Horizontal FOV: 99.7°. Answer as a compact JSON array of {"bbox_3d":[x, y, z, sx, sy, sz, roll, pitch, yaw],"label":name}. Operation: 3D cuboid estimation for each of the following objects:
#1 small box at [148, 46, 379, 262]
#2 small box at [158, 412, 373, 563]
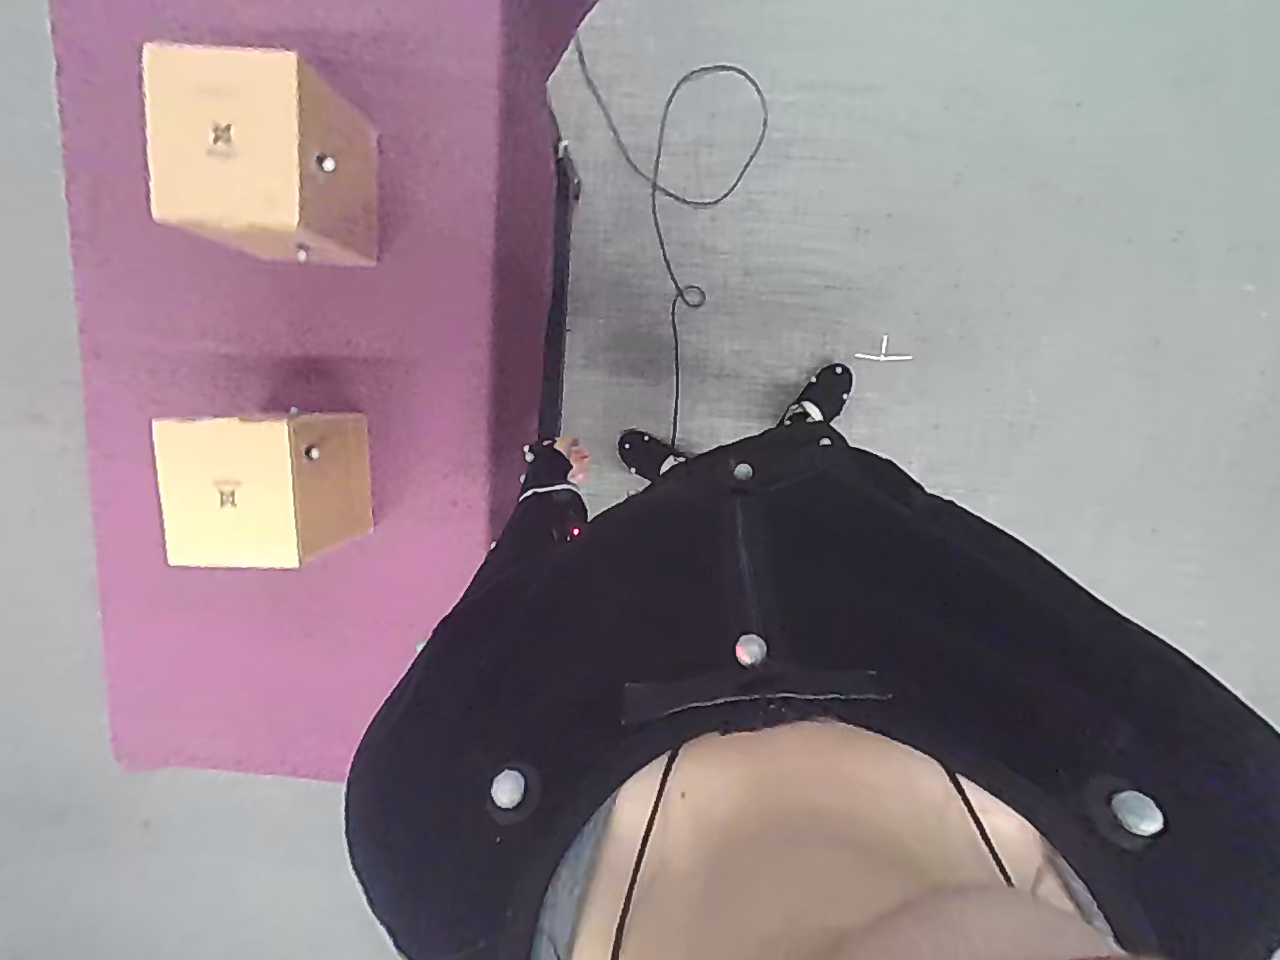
[{"bbox_3d":[-0.438,-0.376,0.657,0.168,0.176,0.179,5,99,2],"label":"small box"},{"bbox_3d":[-0.478,0.001,0.718,0.168,0.176,0.179,1,98,3],"label":"small box"}]
